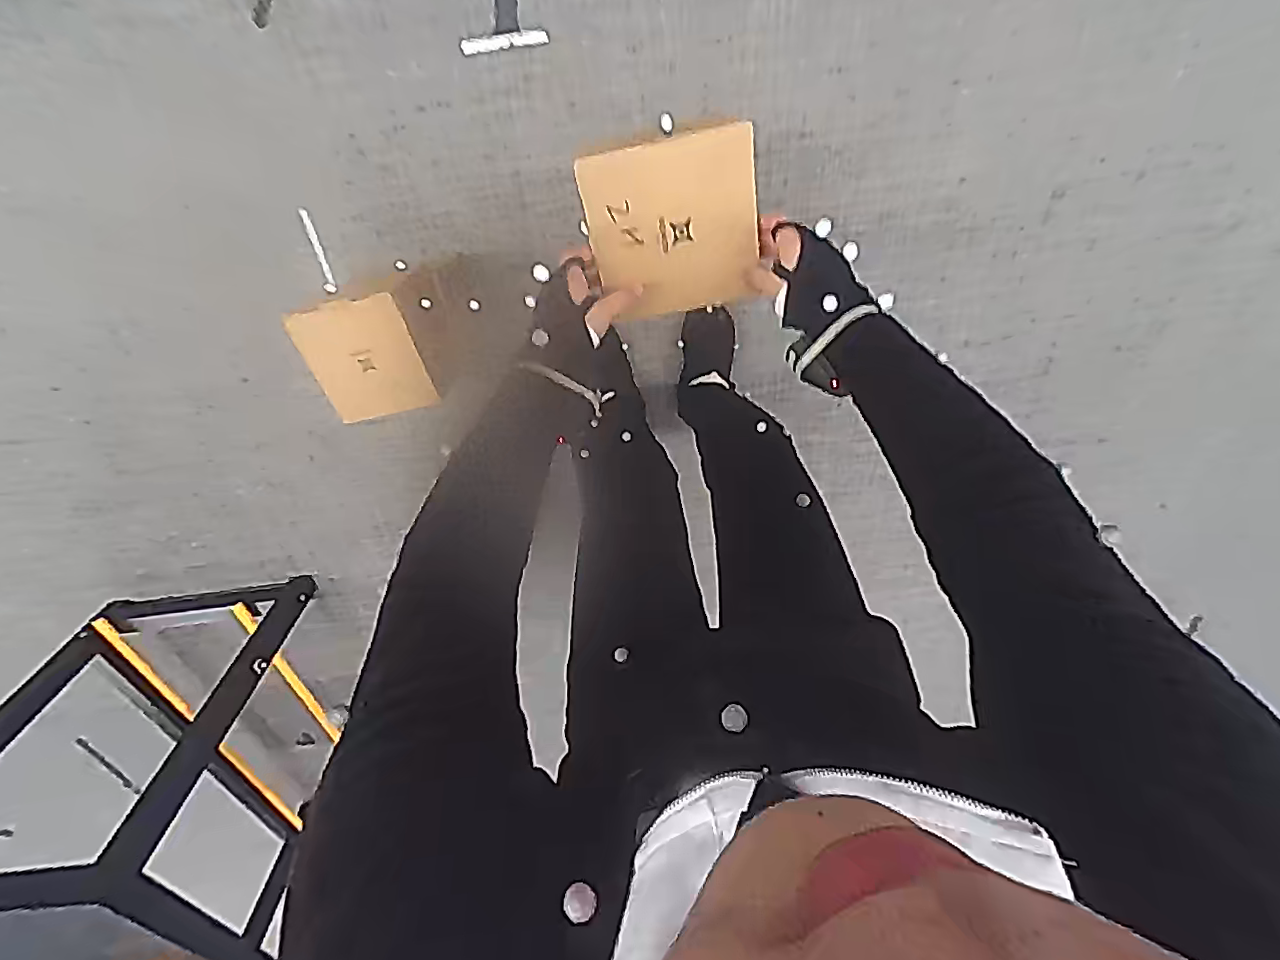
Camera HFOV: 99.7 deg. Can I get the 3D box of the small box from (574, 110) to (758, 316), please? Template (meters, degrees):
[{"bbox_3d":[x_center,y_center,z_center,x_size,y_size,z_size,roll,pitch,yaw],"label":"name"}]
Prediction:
[{"bbox_3d":[0.030,-0.313,0.627,0.179,0.176,0.168,-10,126,5],"label":"small box"}]

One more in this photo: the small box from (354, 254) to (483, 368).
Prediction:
[{"bbox_3d":[-0.409,-0.301,0.991,0.179,0.176,0.168,-10,124,3],"label":"small box"}]

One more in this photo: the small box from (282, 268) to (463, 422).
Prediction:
[{"bbox_3d":[-0.403,-0.219,0.851,0.168,0.176,0.179,-11,125,6],"label":"small box"}]
